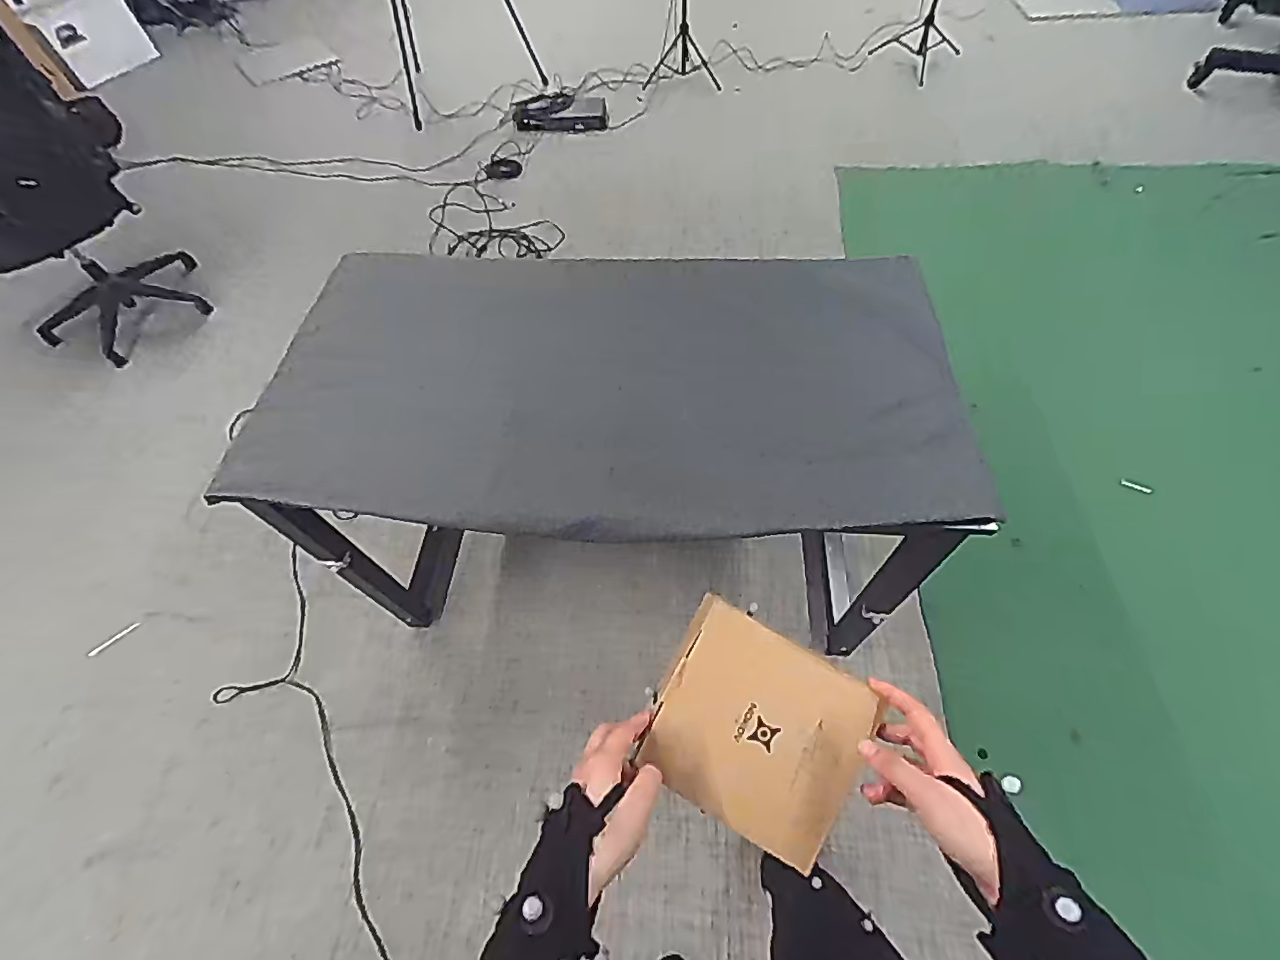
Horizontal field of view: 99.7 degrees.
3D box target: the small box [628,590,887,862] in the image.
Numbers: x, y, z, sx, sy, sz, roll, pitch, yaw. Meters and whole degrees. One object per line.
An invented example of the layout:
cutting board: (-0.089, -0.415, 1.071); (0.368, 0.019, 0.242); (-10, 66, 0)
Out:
small box: (0.107, 0.225, 0.551); (0.179, 0.176, 0.168); (28, 84, 7)
